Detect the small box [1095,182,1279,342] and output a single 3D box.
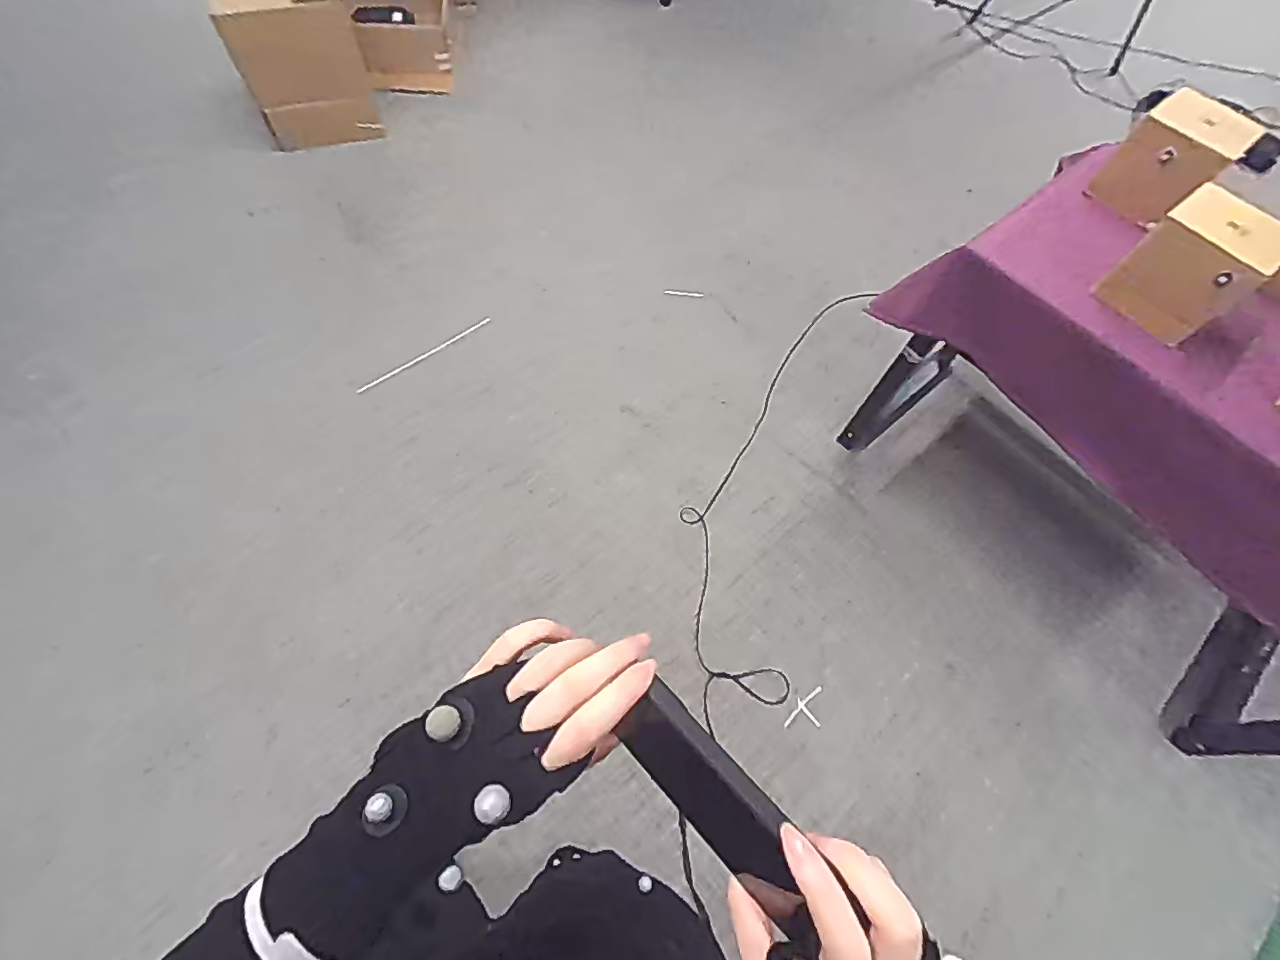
[{"bbox_3d":[0.982,-0.384,0.966,0.168,0.176,0.179,-34,72,-19],"label":"small box"}]
